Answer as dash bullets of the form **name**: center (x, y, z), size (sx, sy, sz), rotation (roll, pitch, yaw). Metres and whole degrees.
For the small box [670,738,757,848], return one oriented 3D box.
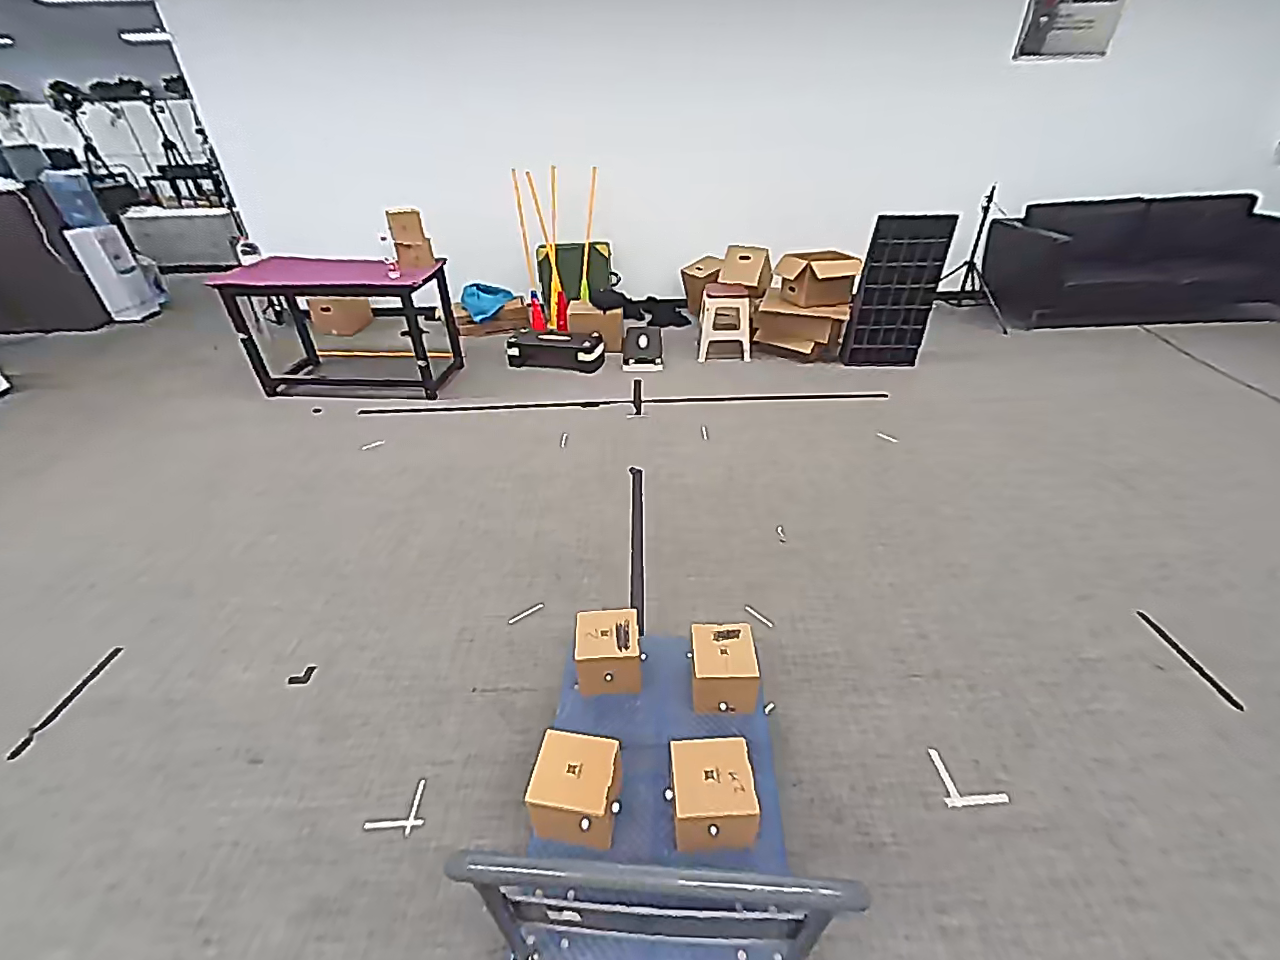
- **small box**: center (0.160, 0.715, 1.232), size (0.179, 0.176, 0.168), rotation (-2, 35, -1)

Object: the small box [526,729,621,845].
- **small box**: center (-0.145, 0.710, 1.251), size (0.179, 0.176, 0.168), rotation (6, 35, 8)

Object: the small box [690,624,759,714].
- **small box**: center (0.229, 0.524, 1.503), size (0.168, 0.176, 0.179), rotation (-1, 36, 2)
